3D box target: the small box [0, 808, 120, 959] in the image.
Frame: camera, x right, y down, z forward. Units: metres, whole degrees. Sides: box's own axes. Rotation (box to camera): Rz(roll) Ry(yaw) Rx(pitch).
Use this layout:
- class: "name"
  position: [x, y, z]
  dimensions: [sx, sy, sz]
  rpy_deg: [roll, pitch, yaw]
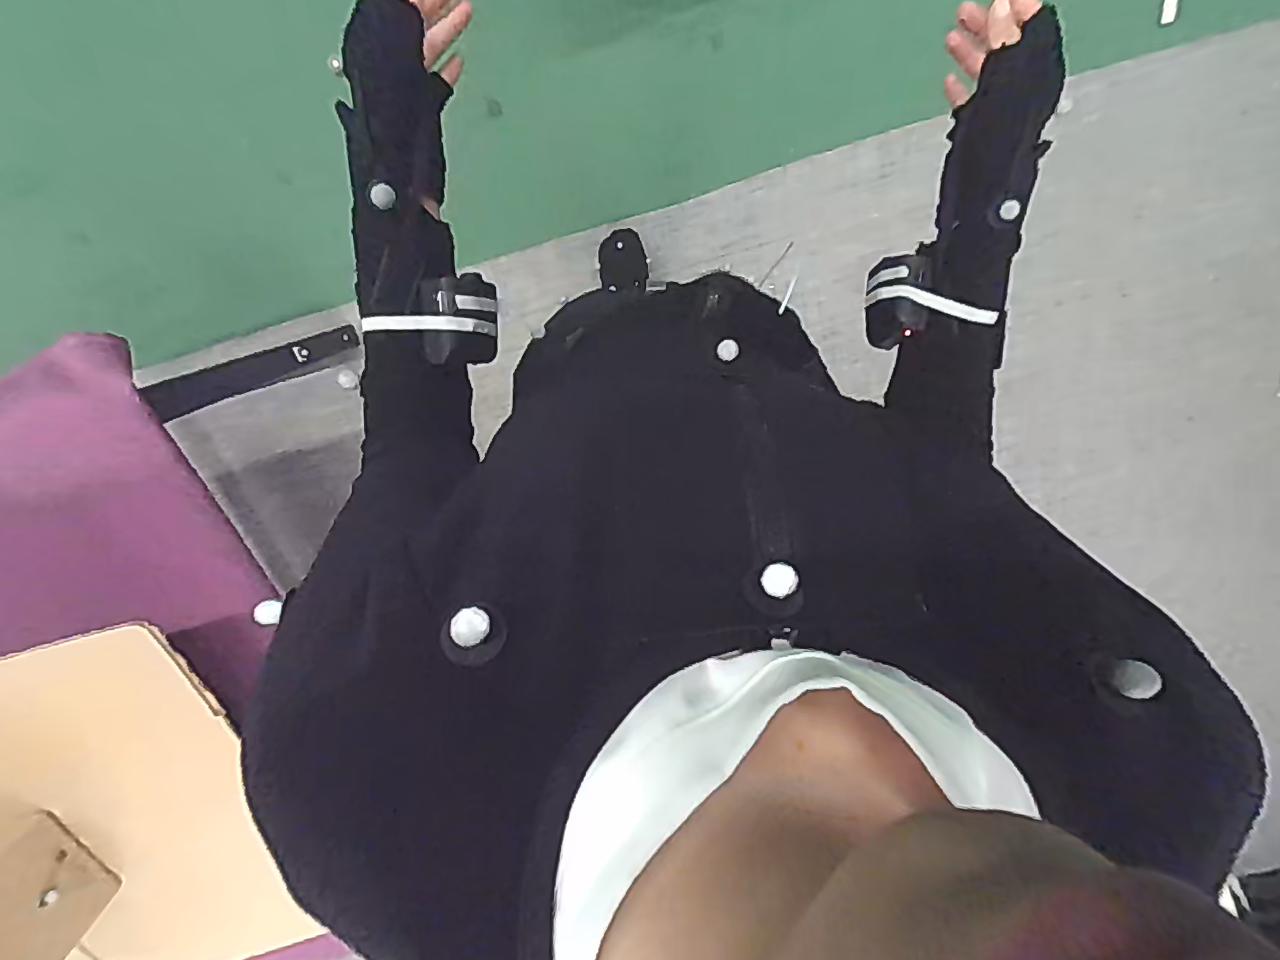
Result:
- class: "small box"
  position: [-0.825, 0.543, 0.666]
  dimensions: [0.179, 0.176, 0.168]
  rpy_deg: [-12, 114, 4]
